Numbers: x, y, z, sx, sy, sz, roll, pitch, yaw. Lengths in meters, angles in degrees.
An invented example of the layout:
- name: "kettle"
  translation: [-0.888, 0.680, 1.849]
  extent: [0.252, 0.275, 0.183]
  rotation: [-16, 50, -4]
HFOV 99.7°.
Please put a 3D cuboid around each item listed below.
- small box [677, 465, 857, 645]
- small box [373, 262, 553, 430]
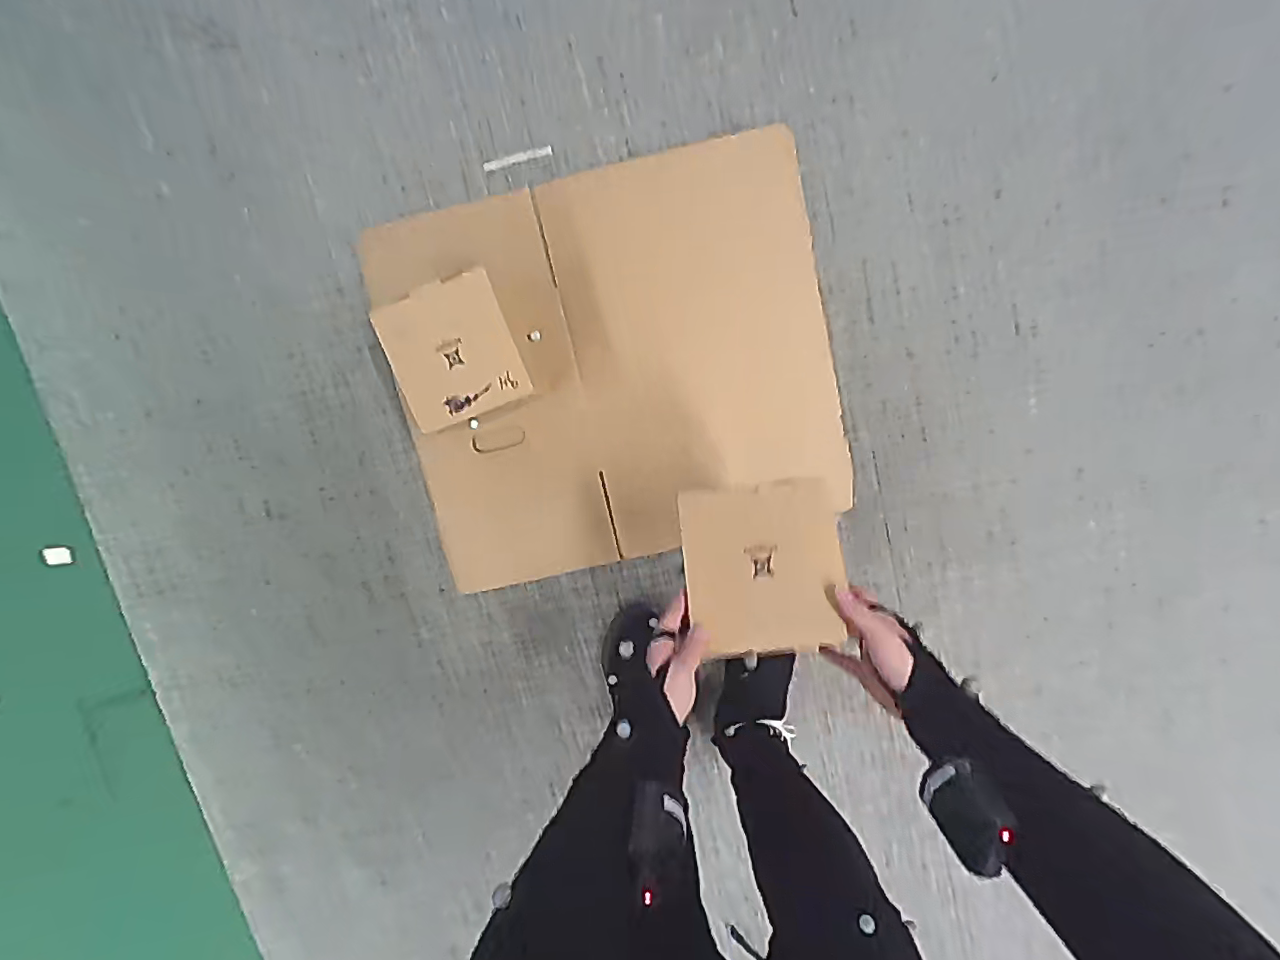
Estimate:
- name: "small box"
  translation: [0.138, 0.098, 0.635]
  extent: [0.168, 0.176, 0.179]
  rotation: [-7, 70, 6]
- name: "small box"
  translation: [-0.241, -0.182, 0.782]
  extent: [0.168, 0.176, 0.179]
  rotation: [-21, 98, 3]
